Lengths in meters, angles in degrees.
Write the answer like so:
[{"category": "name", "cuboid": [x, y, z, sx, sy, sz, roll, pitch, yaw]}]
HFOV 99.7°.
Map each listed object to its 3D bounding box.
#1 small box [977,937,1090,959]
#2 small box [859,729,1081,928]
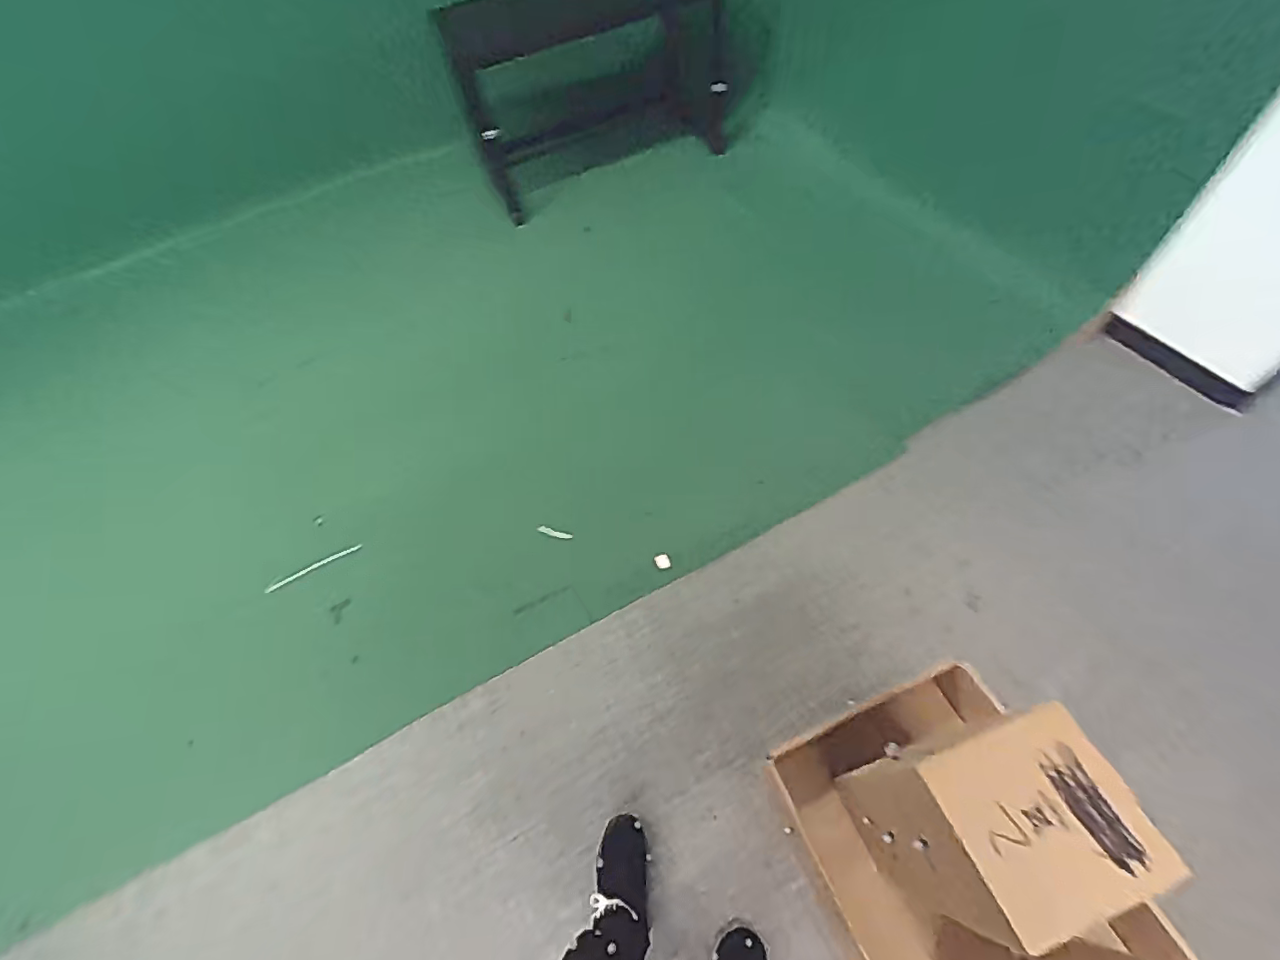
[{"category": "small box", "cuboid": [0.547, 0.759, 0.726, 0.179, 0.176, 0.168, -22, 57, -7]}, {"category": "small box", "cuboid": [0.421, 0.463, 0.733, 0.179, 0.176, 0.168, -21, 59, -6]}]
